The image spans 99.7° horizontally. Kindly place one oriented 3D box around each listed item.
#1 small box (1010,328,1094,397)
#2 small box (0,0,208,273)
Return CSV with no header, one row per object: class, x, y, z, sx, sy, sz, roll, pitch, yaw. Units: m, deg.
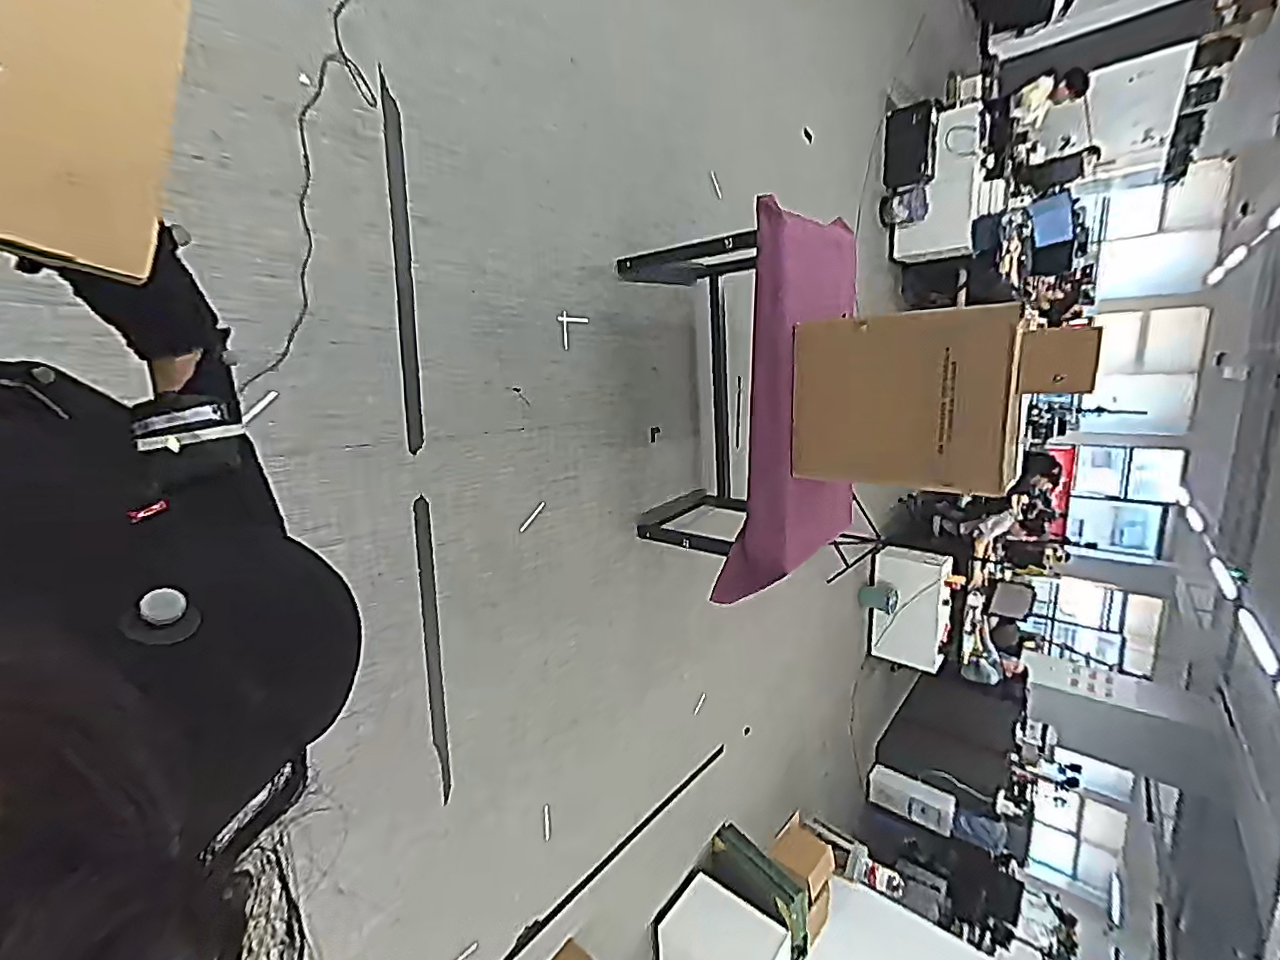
small box,1.143,-0.325,1.504,0.168,0.176,0.179,-16,108,-48
small box,-0.360,-0.226,0.268,0.168,0.176,0.179,6,101,-62
